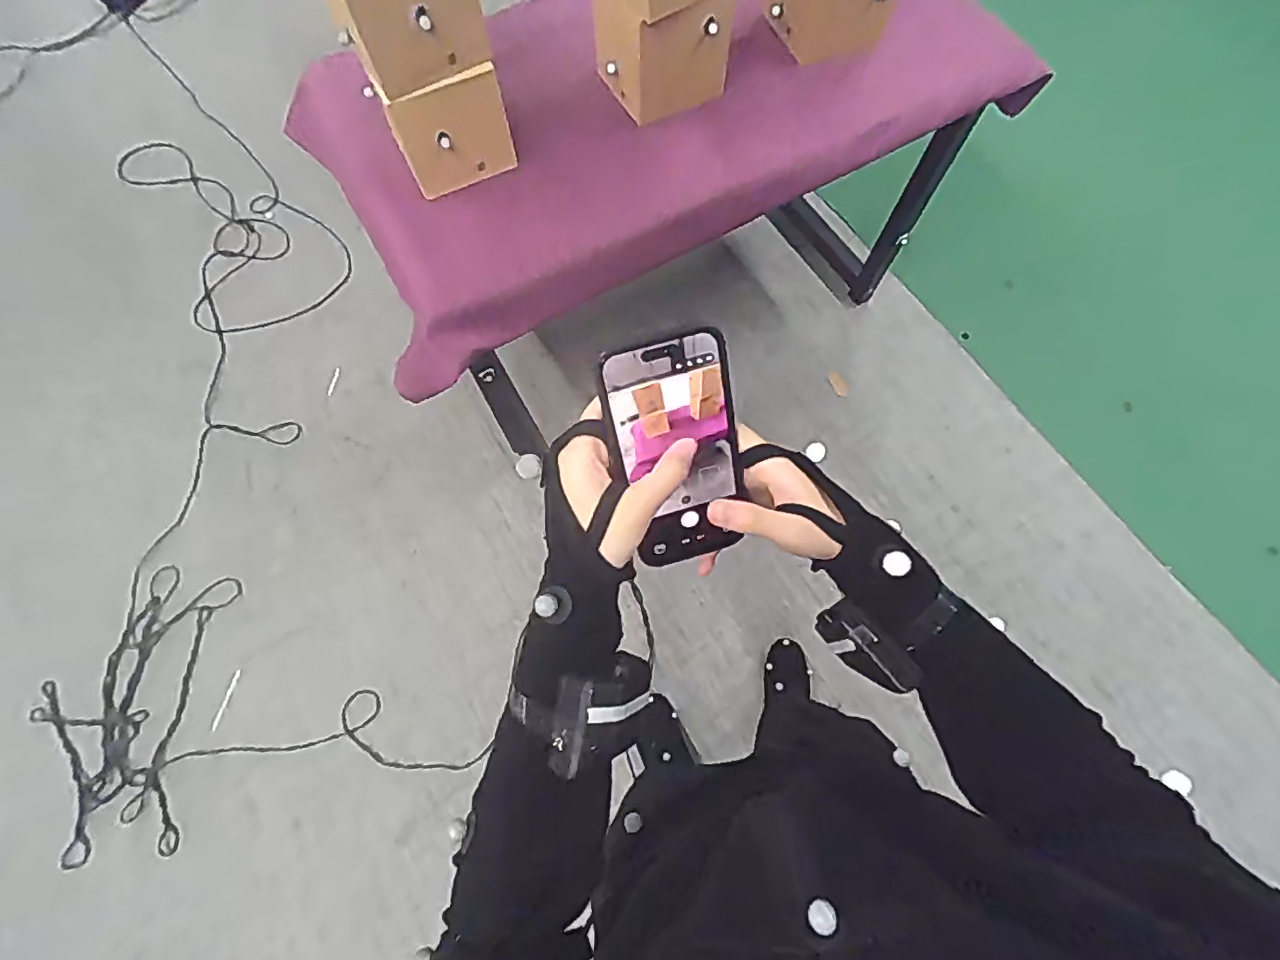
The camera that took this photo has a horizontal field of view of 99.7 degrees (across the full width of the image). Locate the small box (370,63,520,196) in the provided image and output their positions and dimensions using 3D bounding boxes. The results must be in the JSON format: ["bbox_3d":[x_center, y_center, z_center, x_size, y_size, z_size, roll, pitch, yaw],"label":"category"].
[{"bbox_3d":[-0.311,-0.593,0.869,0.168,0.176,0.179,-26,72,-8],"label":"small box"}]

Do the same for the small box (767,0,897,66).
[{"bbox_3d":[0.350,-0.890,0.962,0.179,0.176,0.168,-21,71,-6],"label":"small box"}]

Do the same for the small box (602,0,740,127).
[{"bbox_3d":[0.043,-0.750,0.917,0.179,0.176,0.168,-27,72,-8],"label":"small box"}]

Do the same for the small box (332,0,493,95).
[{"bbox_3d":[-0.319,-0.655,0.717,0.168,0.176,0.179,-31,73,-10],"label":"small box"}]
